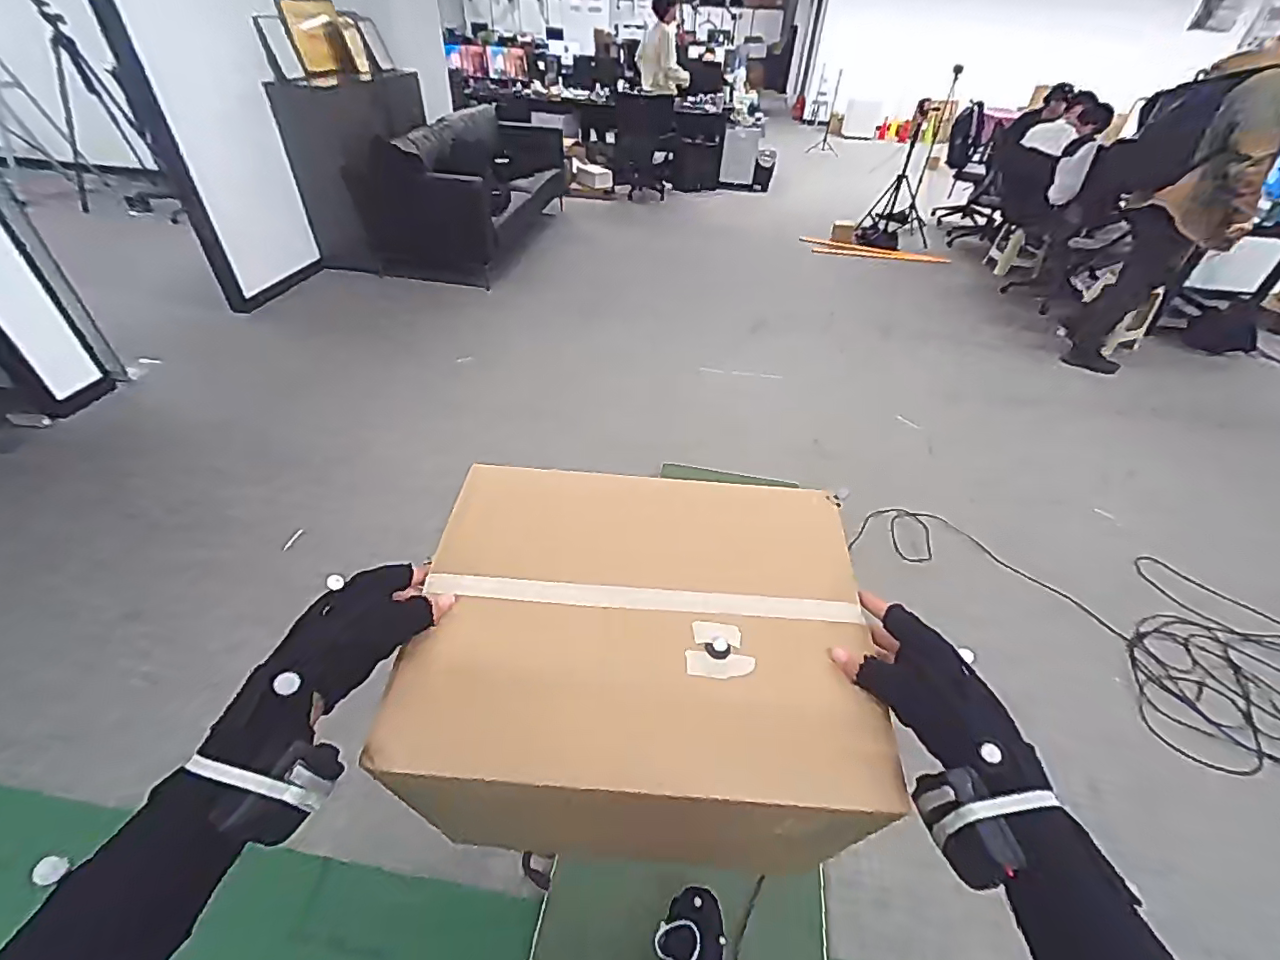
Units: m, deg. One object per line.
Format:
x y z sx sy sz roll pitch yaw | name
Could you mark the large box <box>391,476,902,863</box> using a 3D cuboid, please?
0.003 0.220 0.621 0.408 0.320 0.320 5 47 0 | large box
